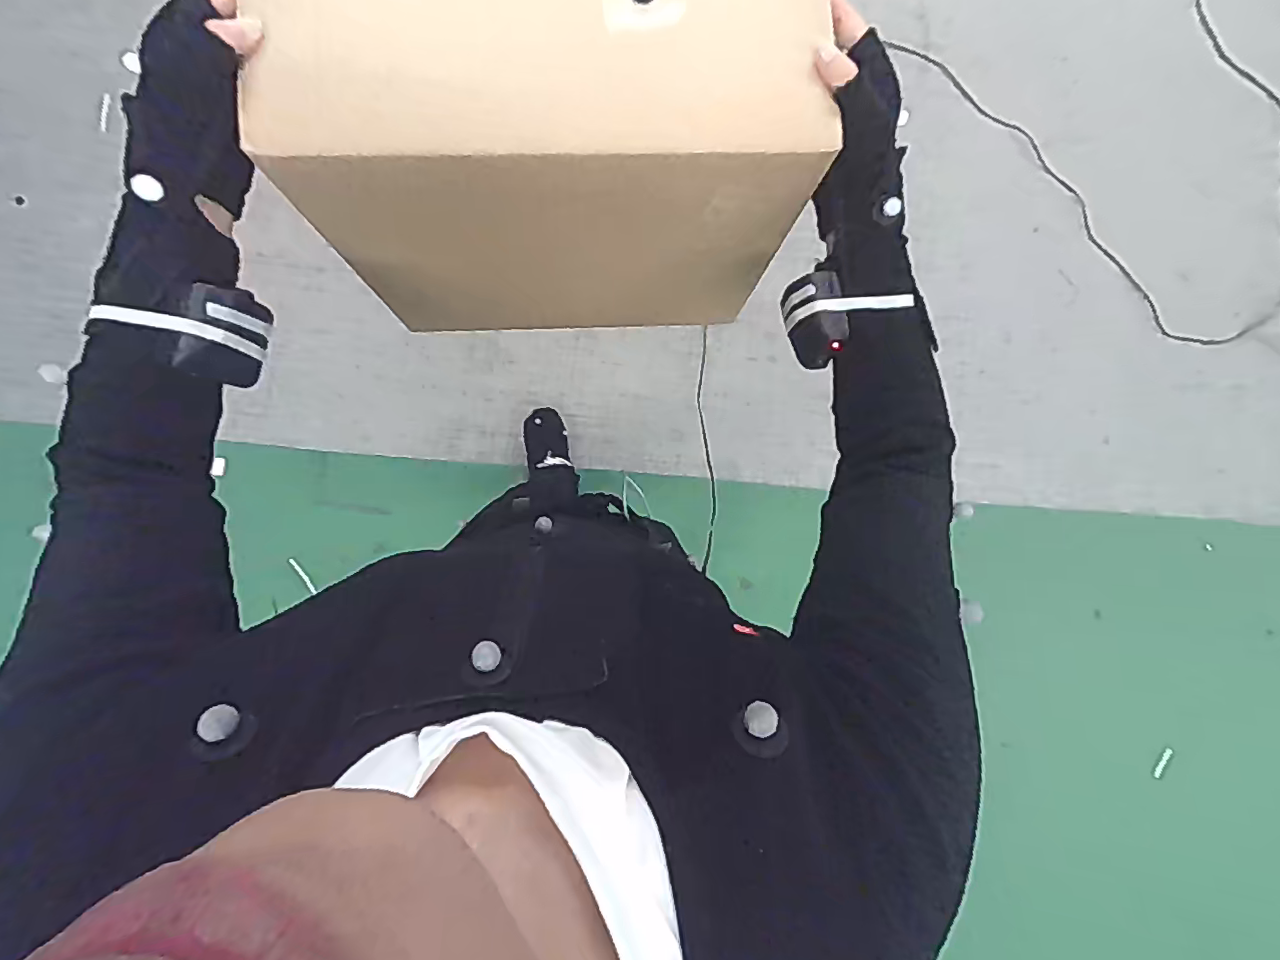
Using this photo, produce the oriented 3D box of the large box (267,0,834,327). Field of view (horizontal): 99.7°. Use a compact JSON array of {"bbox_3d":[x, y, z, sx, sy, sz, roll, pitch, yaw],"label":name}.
[{"bbox_3d":[-0.078,-0.365,0.544,0.408,0.320,0.320,-3,84,-6],"label":"large box"}]
